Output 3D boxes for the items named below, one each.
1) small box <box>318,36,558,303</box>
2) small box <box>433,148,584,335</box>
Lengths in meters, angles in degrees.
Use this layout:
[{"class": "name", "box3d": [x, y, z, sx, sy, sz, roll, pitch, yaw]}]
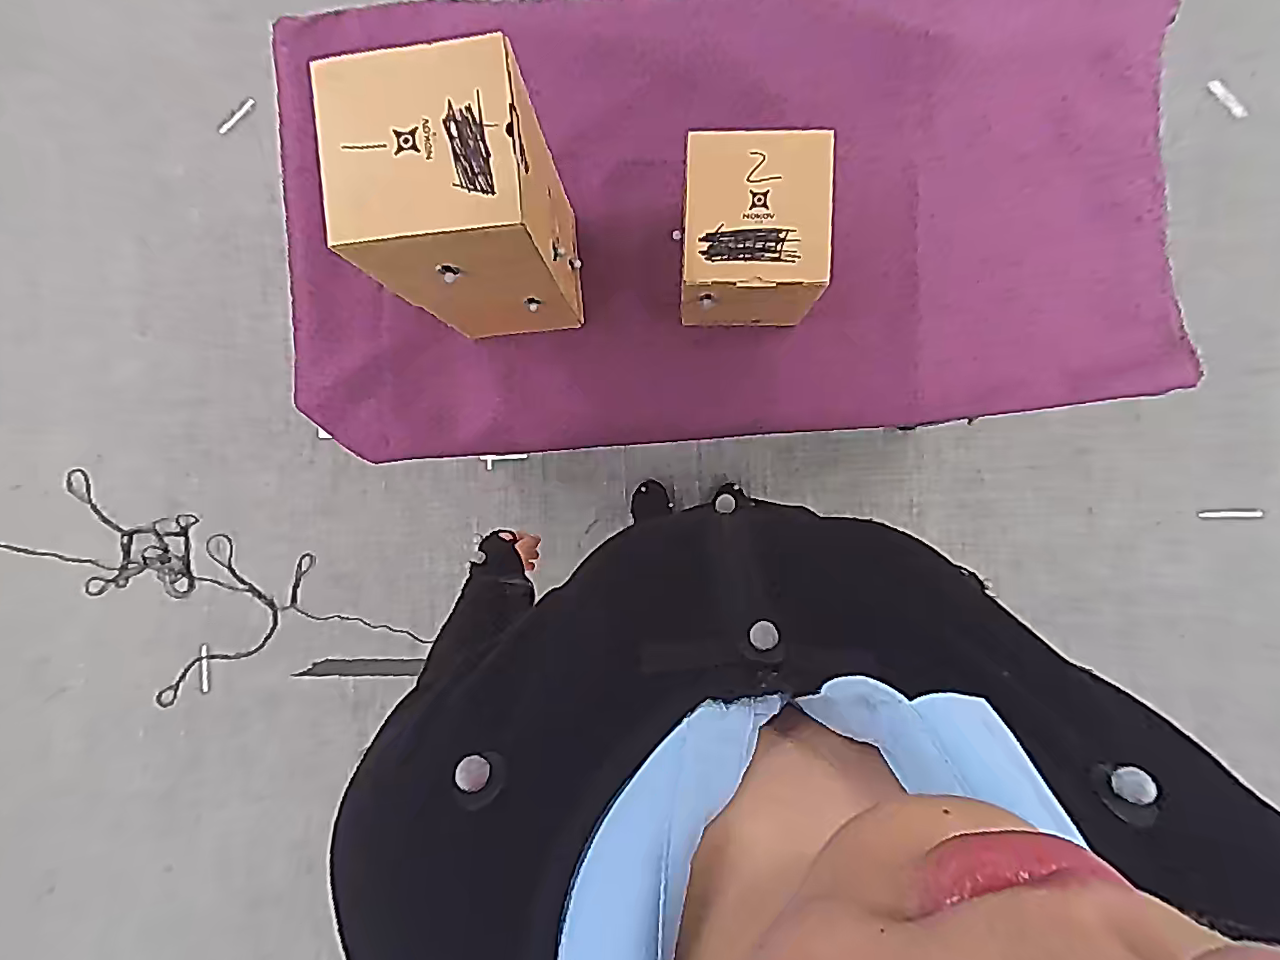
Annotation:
[{"class": "small box", "box3d": [-0.184, -0.292, 0.547, 0.179, 0.176, 0.168, -5, 90, 3]}, {"class": "small box", "box3d": [-0.178, -0.298, 0.711, 0.179, 0.176, 0.168, -5, 90, 3]}]
